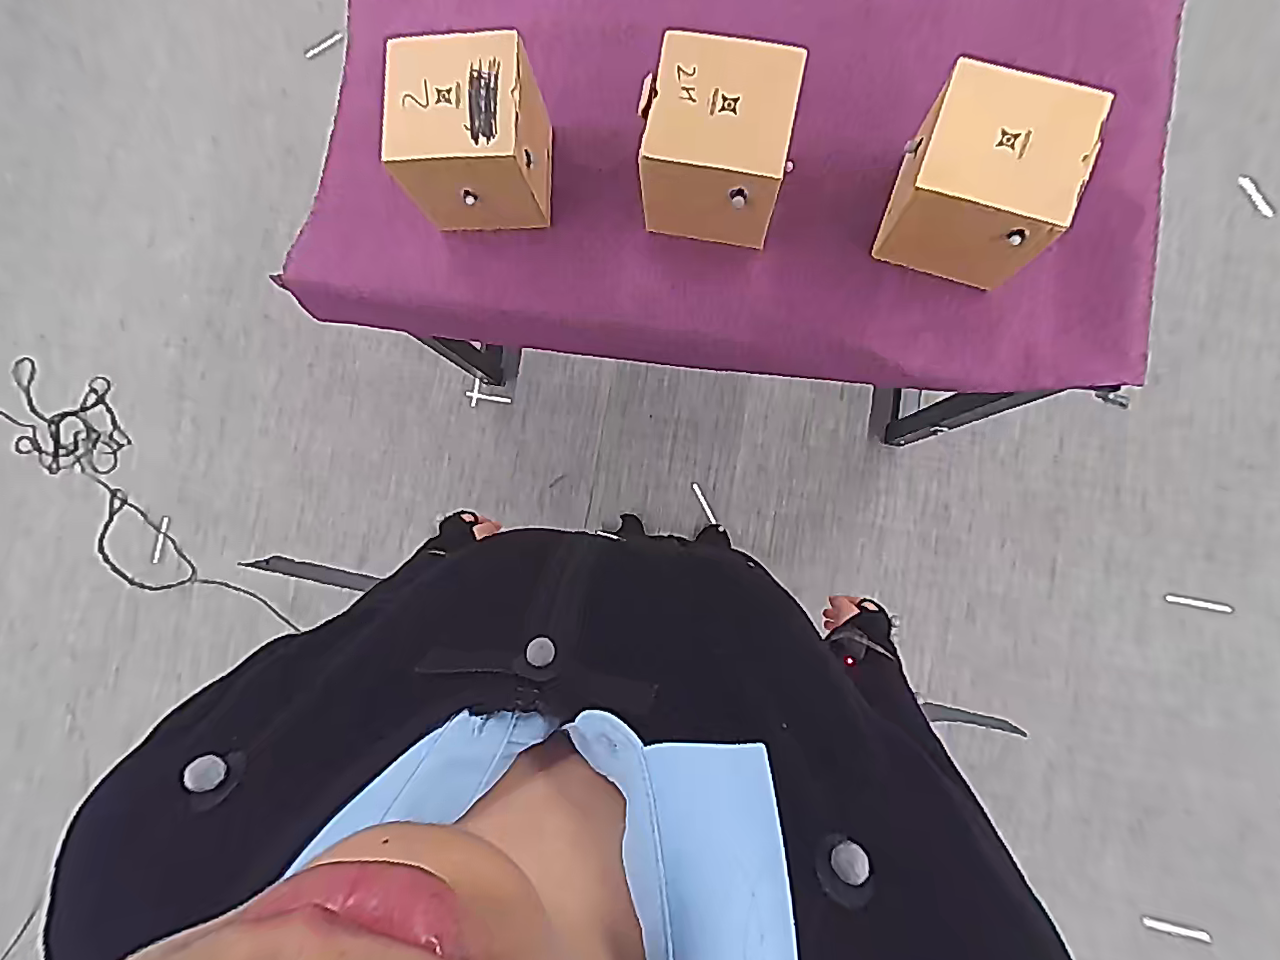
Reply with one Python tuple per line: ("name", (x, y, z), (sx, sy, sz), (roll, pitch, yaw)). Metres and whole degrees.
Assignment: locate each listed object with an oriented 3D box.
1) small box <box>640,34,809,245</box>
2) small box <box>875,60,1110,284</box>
("small box", (0.107, -0.440, 0.725), (0.179, 0.176, 0.168), (11, 86, 6))
("small box", (0.430, -0.377, 0.692), (0.179, 0.176, 0.168), (19, 87, 6))
